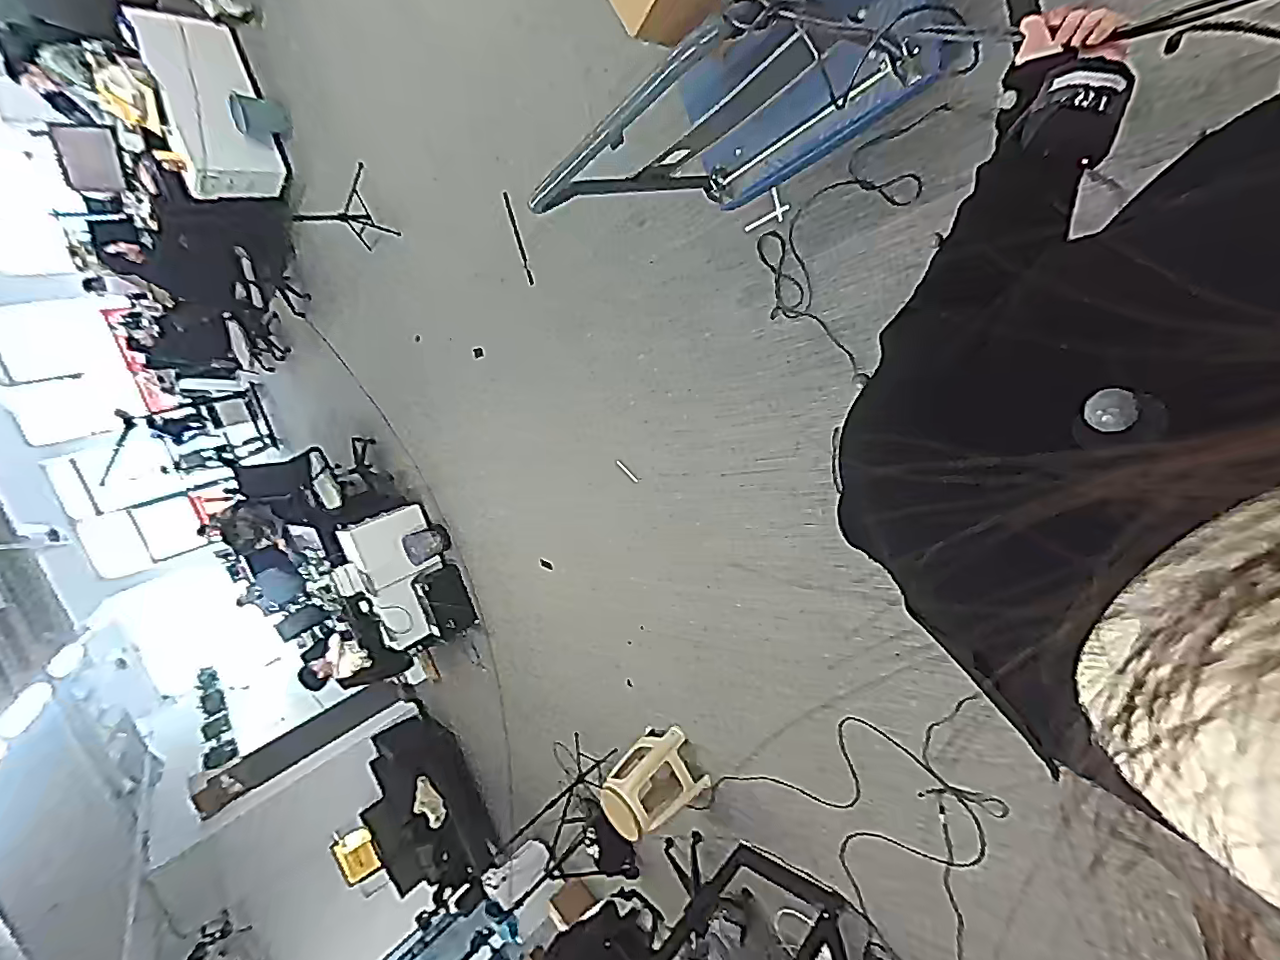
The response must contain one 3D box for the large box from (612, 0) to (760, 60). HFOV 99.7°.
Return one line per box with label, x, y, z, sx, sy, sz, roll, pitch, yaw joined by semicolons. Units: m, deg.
large box;0.125;-1.175;1.085;0.408;0.320;0.320;-31;87;49
